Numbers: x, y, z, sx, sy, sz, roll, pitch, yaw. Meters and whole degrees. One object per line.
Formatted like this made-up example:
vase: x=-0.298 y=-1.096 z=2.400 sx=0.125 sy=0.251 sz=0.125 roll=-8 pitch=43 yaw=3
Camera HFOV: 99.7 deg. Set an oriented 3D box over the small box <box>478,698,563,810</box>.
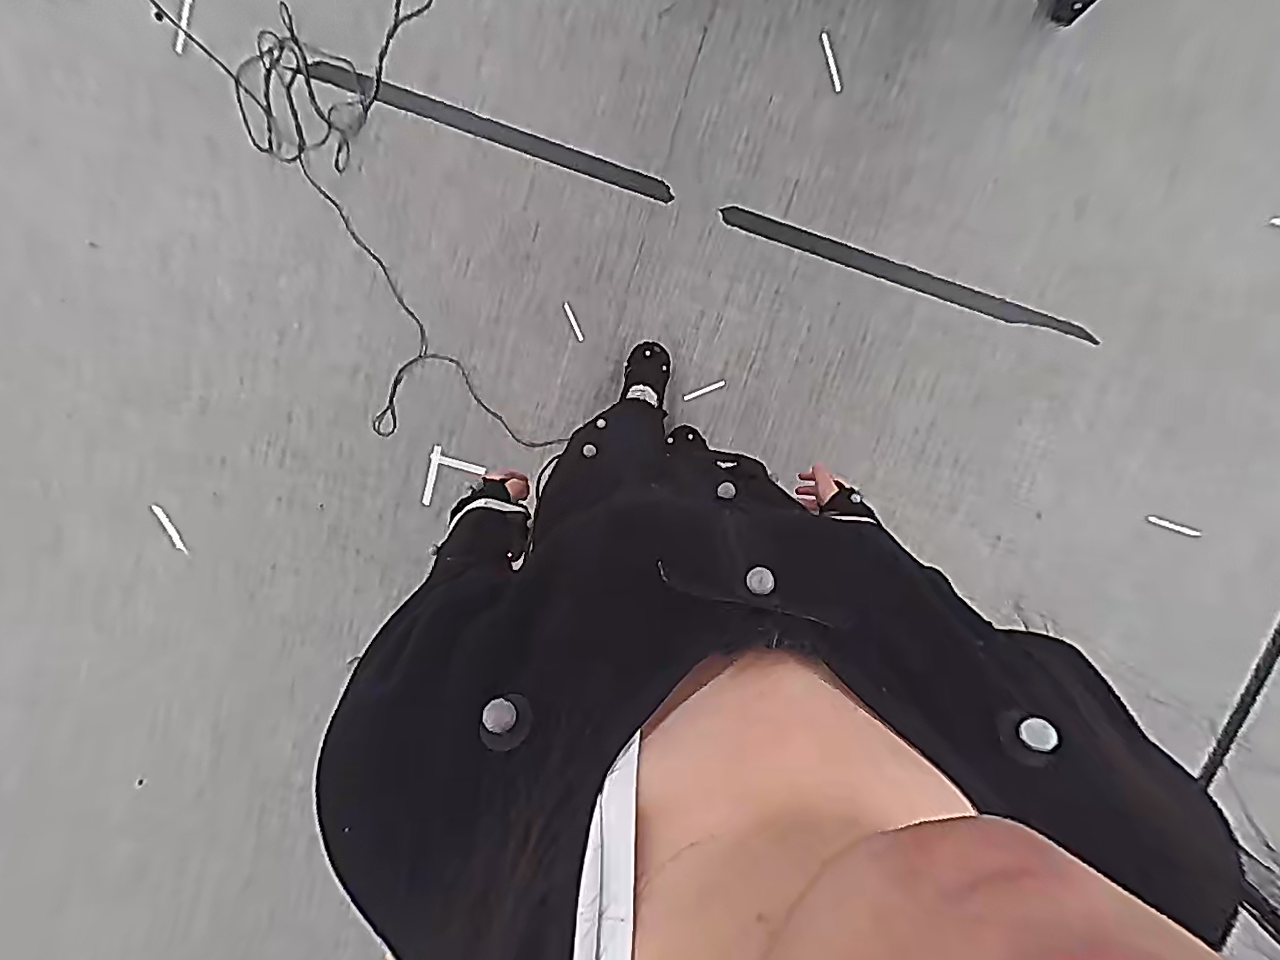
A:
small box: x=-0.281 y=0.634 z=1.226 sx=0.168 sy=0.176 sz=0.179 roll=15 pitch=98 yaw=-1
